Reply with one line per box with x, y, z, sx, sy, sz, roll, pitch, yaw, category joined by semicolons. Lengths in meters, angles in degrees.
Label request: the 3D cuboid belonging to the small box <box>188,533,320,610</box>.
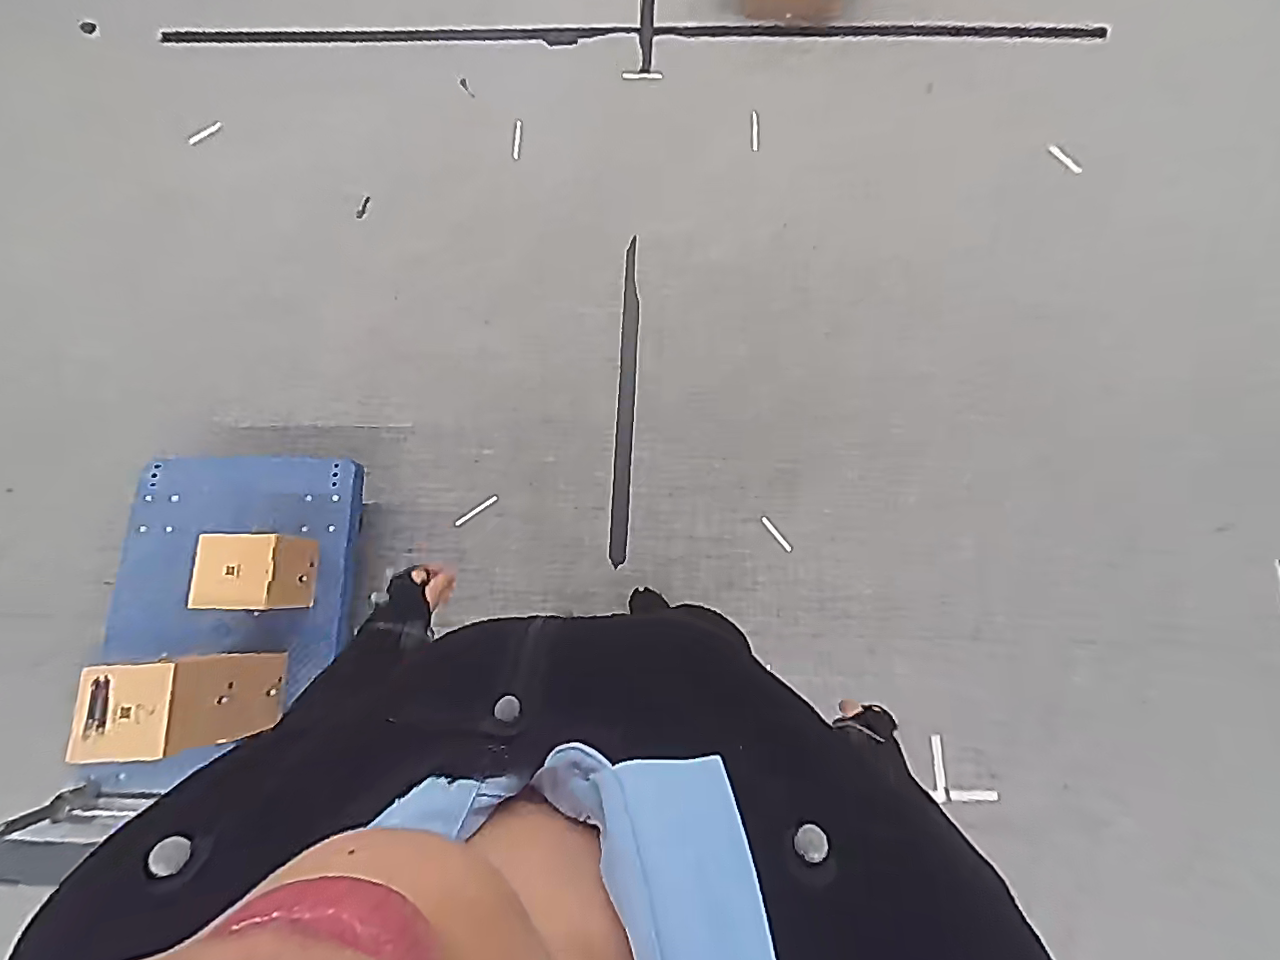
-0.893;0.217;1.265;0.179;0.176;0.168;0;78;1;small box

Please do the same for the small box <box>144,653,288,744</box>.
-0.934;0.481;1.206;0.179;0.176;0.168;-1;78;1;small box
